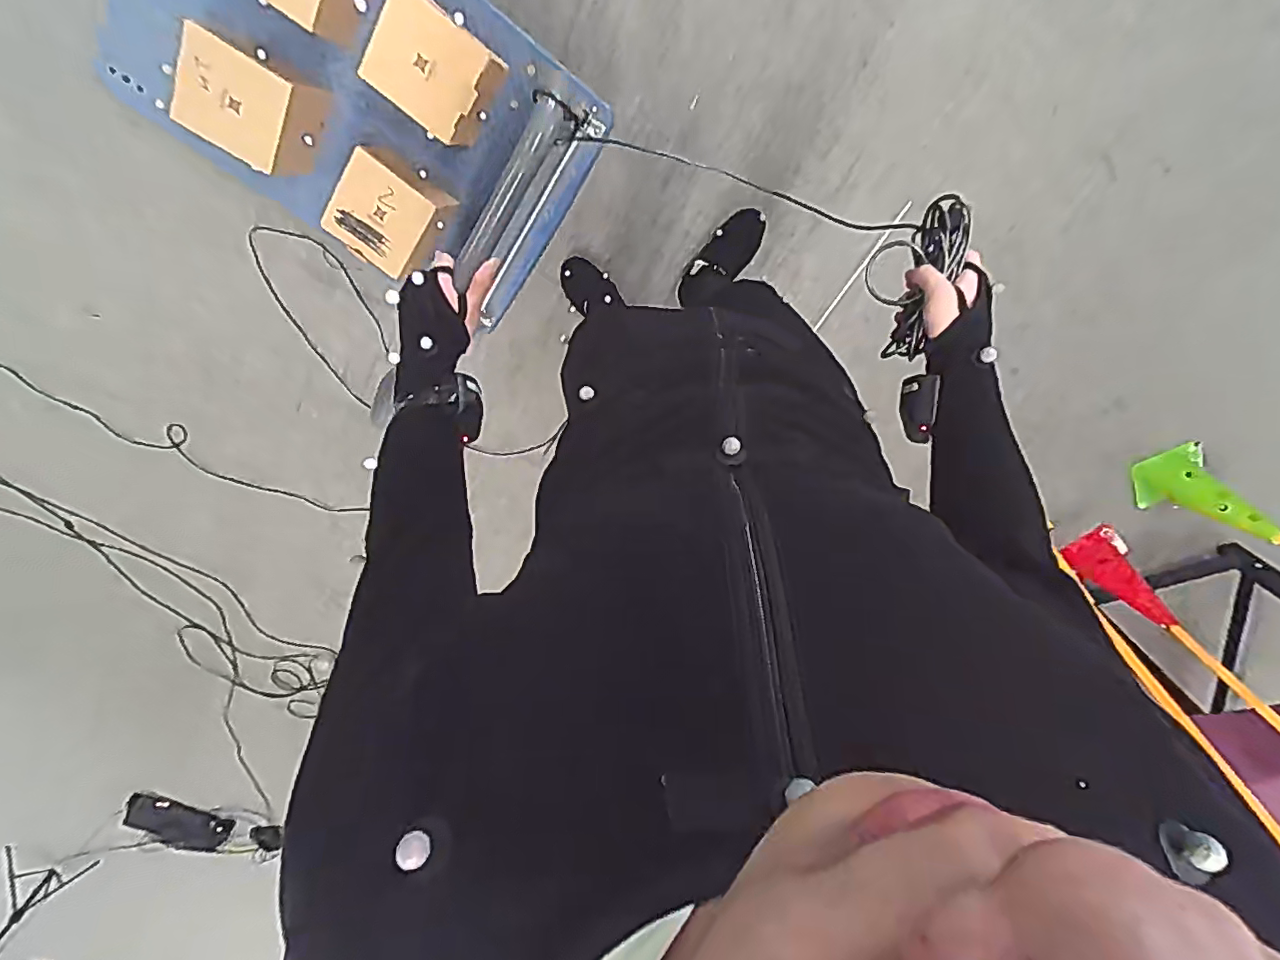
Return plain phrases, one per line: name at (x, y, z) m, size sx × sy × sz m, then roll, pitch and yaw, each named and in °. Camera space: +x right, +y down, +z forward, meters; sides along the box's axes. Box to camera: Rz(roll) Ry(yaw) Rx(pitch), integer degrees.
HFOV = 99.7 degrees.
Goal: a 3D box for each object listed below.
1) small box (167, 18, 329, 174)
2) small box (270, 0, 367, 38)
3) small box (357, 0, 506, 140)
small box at (-0.723, -0.709, 1.016) m, size 0.179 × 0.176 × 0.168 m, roll 28°, pitch 116°, yaw -17°
small box at (-0.577, -0.891, 0.908) m, size 0.179 × 0.176 × 0.168 m, roll 30°, pitch 117°, yaw -19°
small box at (-0.374, -0.757, 0.996) m, size 0.179 × 0.176 × 0.168 m, roll 33°, pitch 115°, yaw -19°
